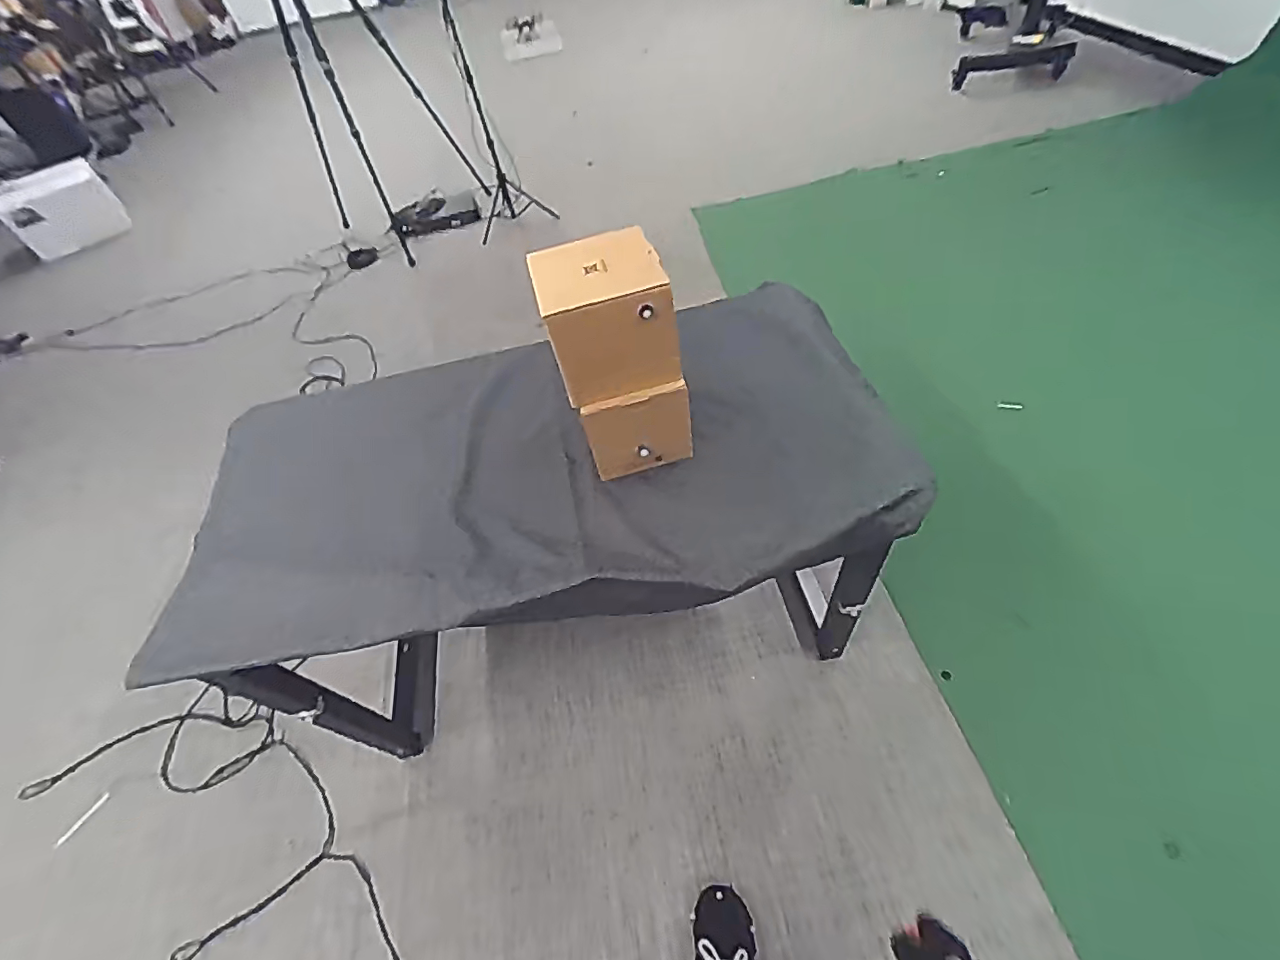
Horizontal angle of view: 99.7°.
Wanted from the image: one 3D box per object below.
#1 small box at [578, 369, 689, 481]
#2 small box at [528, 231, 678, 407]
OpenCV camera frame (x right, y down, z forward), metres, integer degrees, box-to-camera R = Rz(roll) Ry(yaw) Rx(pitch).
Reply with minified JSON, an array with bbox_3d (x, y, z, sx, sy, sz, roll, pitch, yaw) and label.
[{"bbox_3d":[-0.019,-0.127,0.921,0.168,0.176,0.179,-15,52,-2],"label":"small box"},{"bbox_3d":[-0.051,-0.233,0.800,0.179,0.176,0.168,-16,51,-4],"label":"small box"}]
